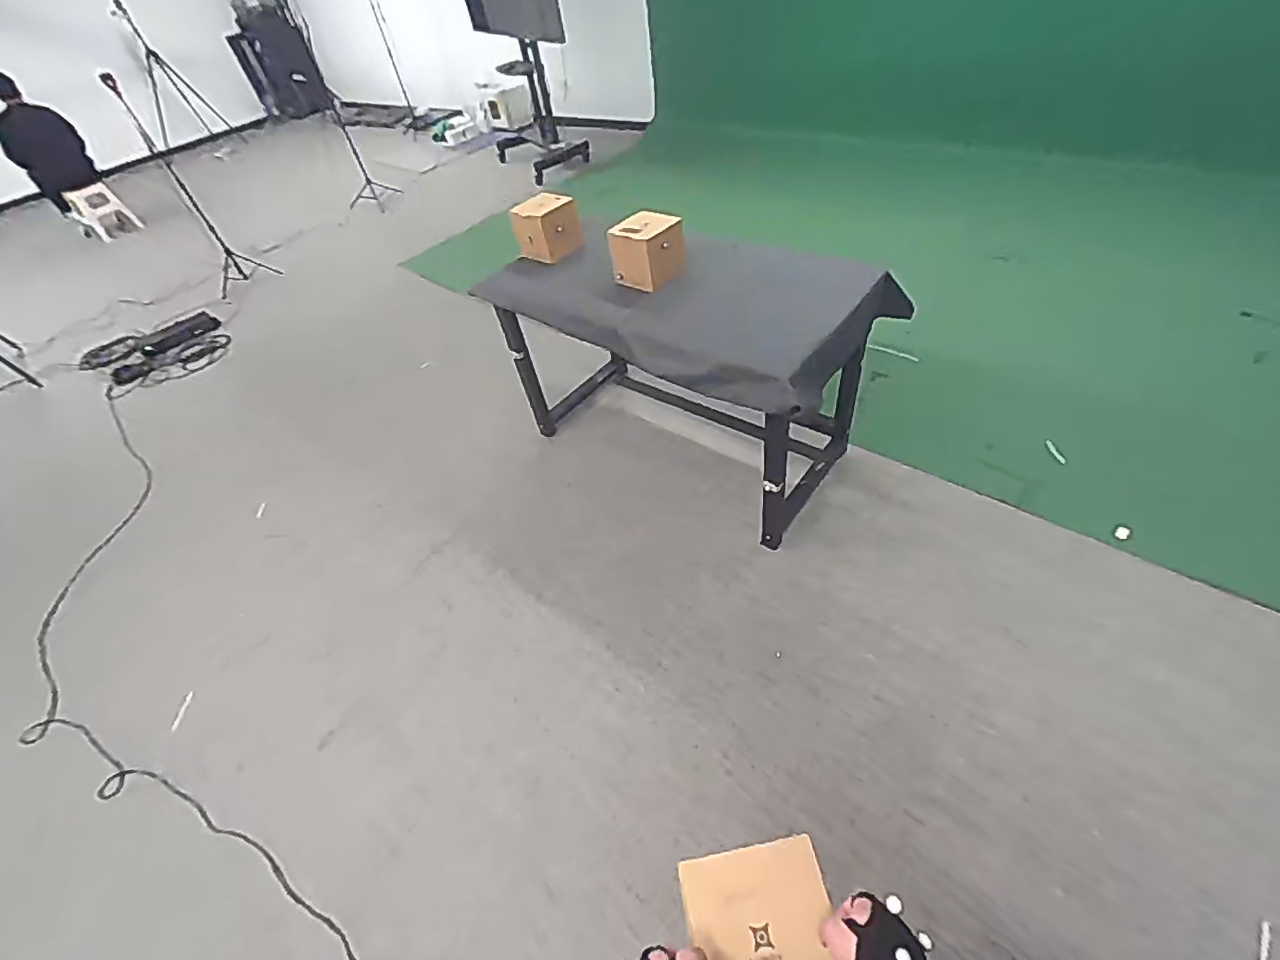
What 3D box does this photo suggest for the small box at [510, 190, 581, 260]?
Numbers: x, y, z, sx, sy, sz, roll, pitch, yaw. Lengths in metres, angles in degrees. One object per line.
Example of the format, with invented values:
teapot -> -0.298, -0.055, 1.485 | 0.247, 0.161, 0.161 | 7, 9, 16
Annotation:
small box -> -0.335, -0.922, 1.958 | 0.168, 0.176, 0.179 | 28, 59, 29

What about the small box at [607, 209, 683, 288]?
small box -> 0.025, -0.733, 1.714 | 0.168, 0.176, 0.179 | 29, 57, 31
